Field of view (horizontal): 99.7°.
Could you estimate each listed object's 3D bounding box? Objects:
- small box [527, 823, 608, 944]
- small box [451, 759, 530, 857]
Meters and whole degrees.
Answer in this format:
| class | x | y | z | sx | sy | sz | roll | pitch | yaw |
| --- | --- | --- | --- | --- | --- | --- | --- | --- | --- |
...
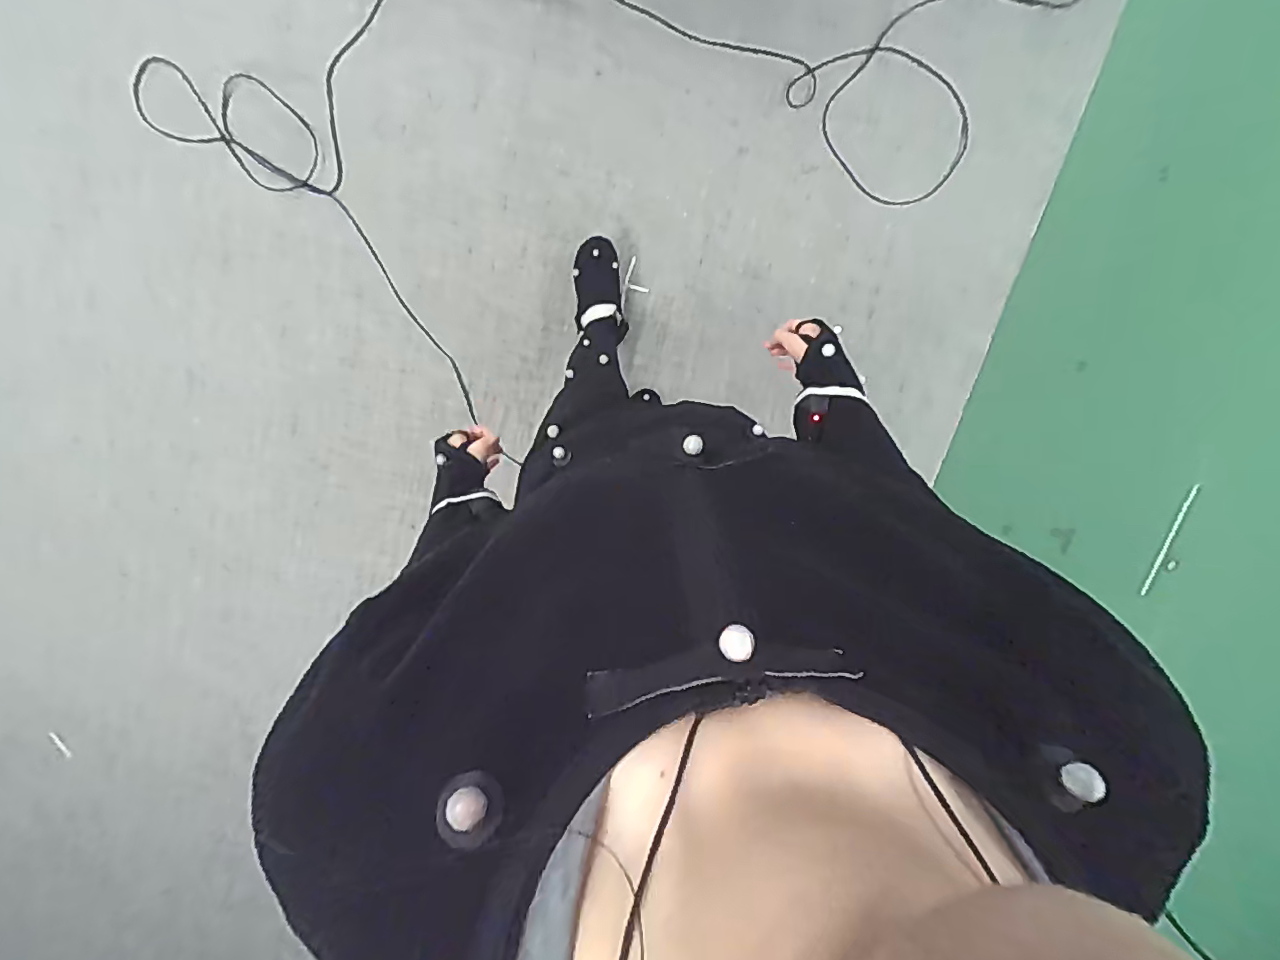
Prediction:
| class | x | y | z | sx | sy | sz | roll | pitch | yaw |
| --- | --- | --- | --- | --- | --- | --- | --- | --- | --- |
| small box | -0.183 | 1.057 | 1.425 | 0.168 | 0.176 | 0.179 | 18 | 100 | -7 |
| small box | -0.423 | 0.936 | 1.557 | 0.179 | 0.176 | 0.168 | 14 | 100 | -8 |
